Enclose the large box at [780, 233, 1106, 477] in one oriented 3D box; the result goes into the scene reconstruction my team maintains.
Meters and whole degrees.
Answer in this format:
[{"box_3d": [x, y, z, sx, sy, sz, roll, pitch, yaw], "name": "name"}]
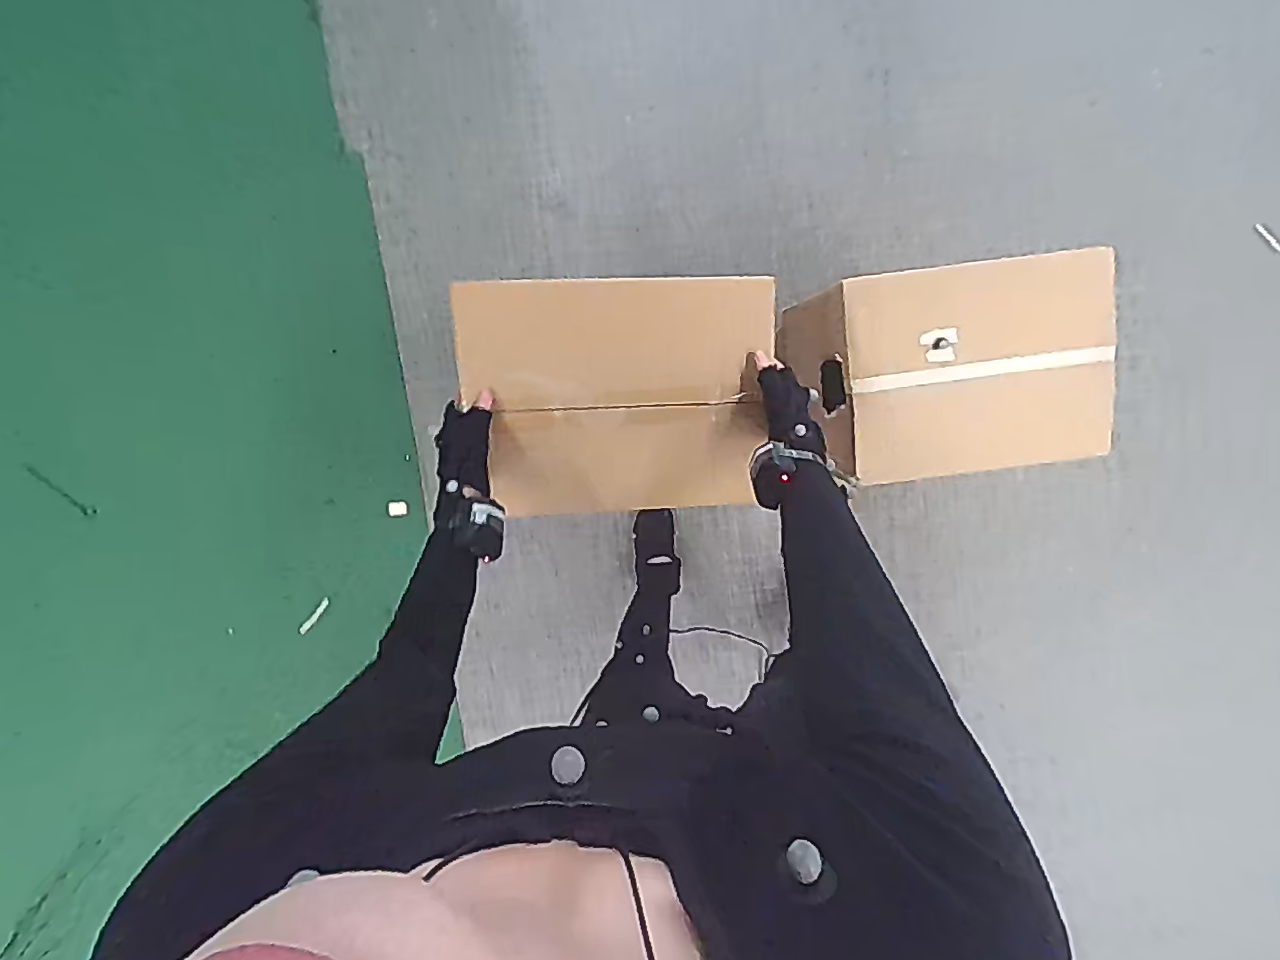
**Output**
[{"box_3d": [0.494, -0.209, 0.955, 0.408, 0.320, 0.320, -8, 100, 1], "name": "large box"}]
